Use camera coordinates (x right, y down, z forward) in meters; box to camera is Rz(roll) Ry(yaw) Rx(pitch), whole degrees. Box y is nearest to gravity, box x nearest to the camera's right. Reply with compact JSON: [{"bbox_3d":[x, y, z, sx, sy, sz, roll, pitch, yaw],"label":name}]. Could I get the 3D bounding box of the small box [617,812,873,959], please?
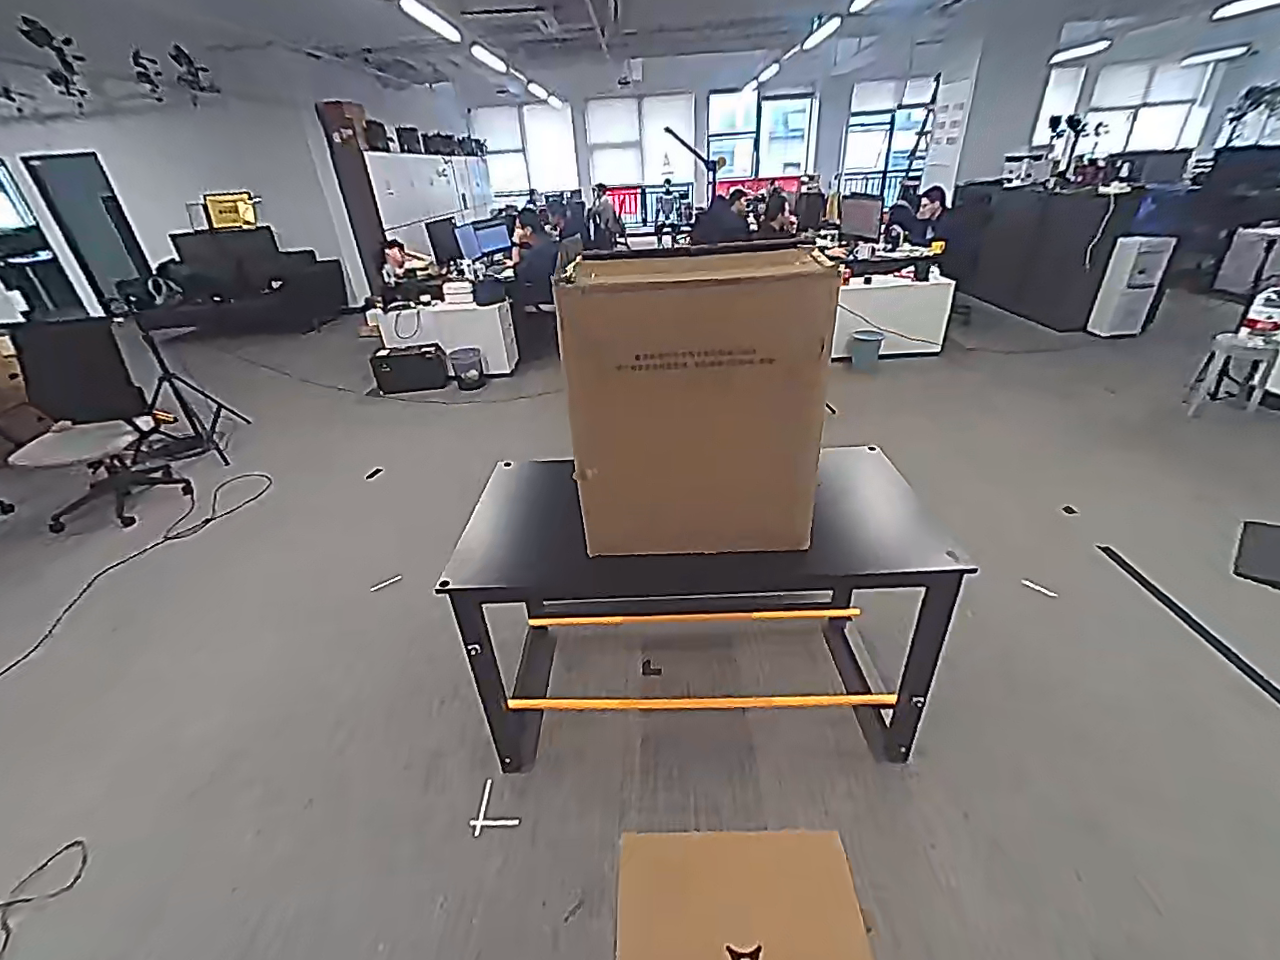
[{"bbox_3d":[0.069,0.371,0.389,0.168,0.176,0.179,-2,36,2],"label":"small box"}]
